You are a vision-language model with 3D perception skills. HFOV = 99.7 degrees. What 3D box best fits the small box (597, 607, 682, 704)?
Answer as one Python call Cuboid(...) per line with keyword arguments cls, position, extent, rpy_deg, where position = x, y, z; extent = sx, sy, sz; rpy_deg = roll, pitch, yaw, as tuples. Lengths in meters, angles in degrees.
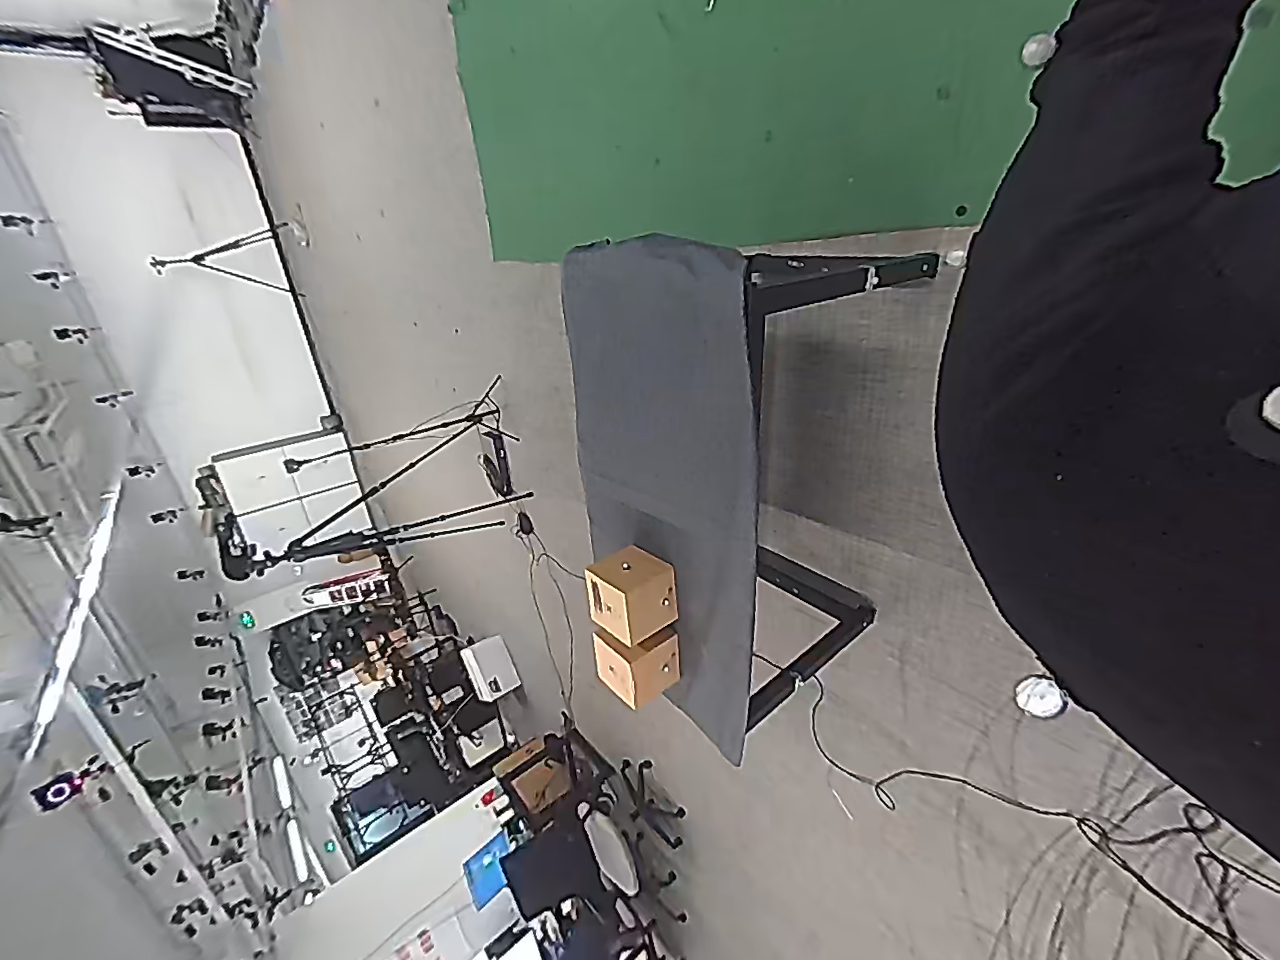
Cuboid(cls="small box", position=(0.000, 0.483, 1.522), extent=(0.179, 0.176, 0.168), rpy_deg=(24, 127, 46))
